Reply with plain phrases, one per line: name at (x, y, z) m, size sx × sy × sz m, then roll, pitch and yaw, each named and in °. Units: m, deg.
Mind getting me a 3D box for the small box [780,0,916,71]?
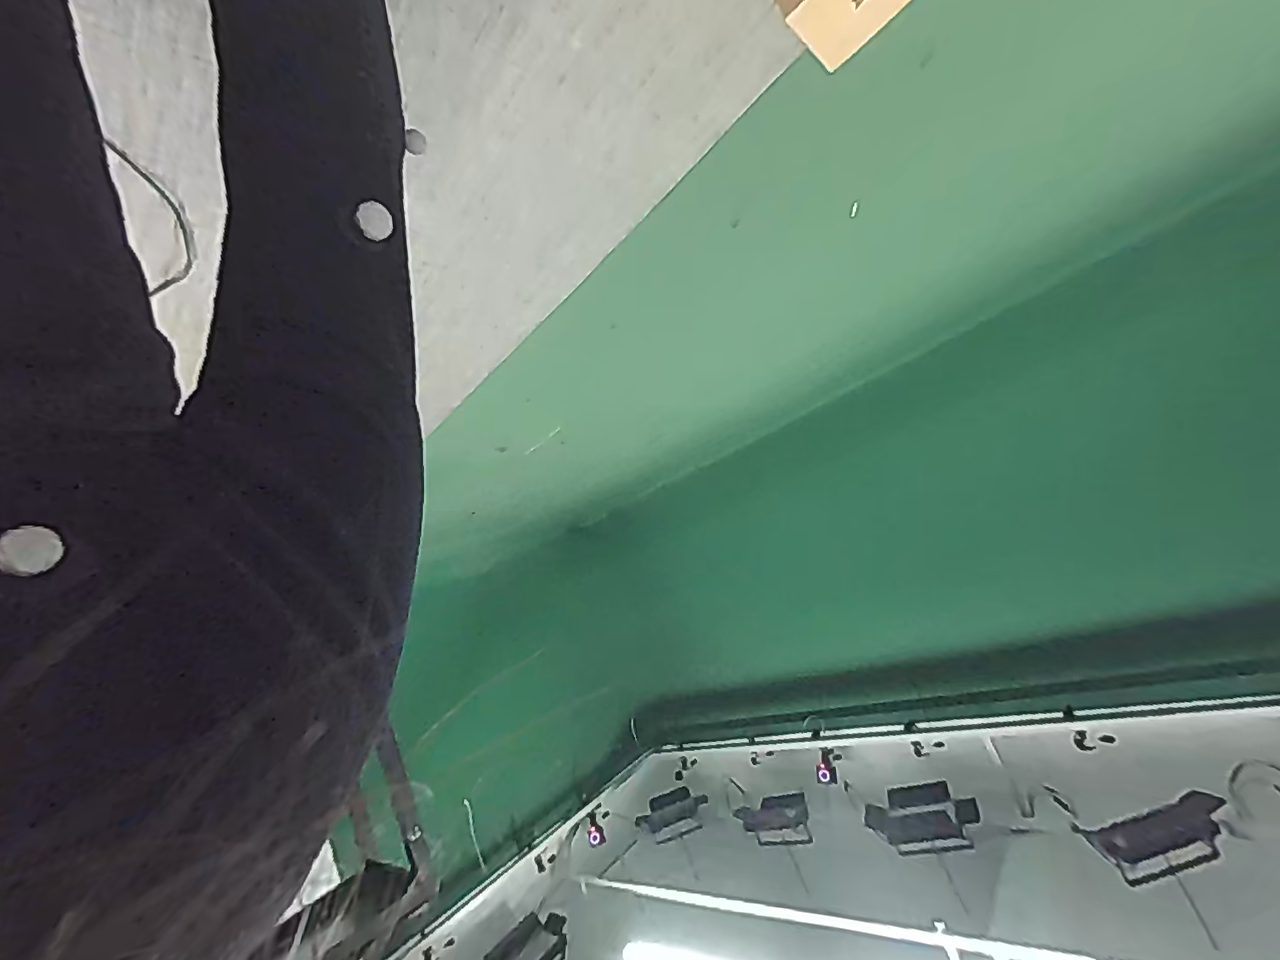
small box at (0.275, -0.718, 0.720) m, size 0.179 × 0.176 × 0.168 m, roll -28°, pitch 170°, yaw 40°
